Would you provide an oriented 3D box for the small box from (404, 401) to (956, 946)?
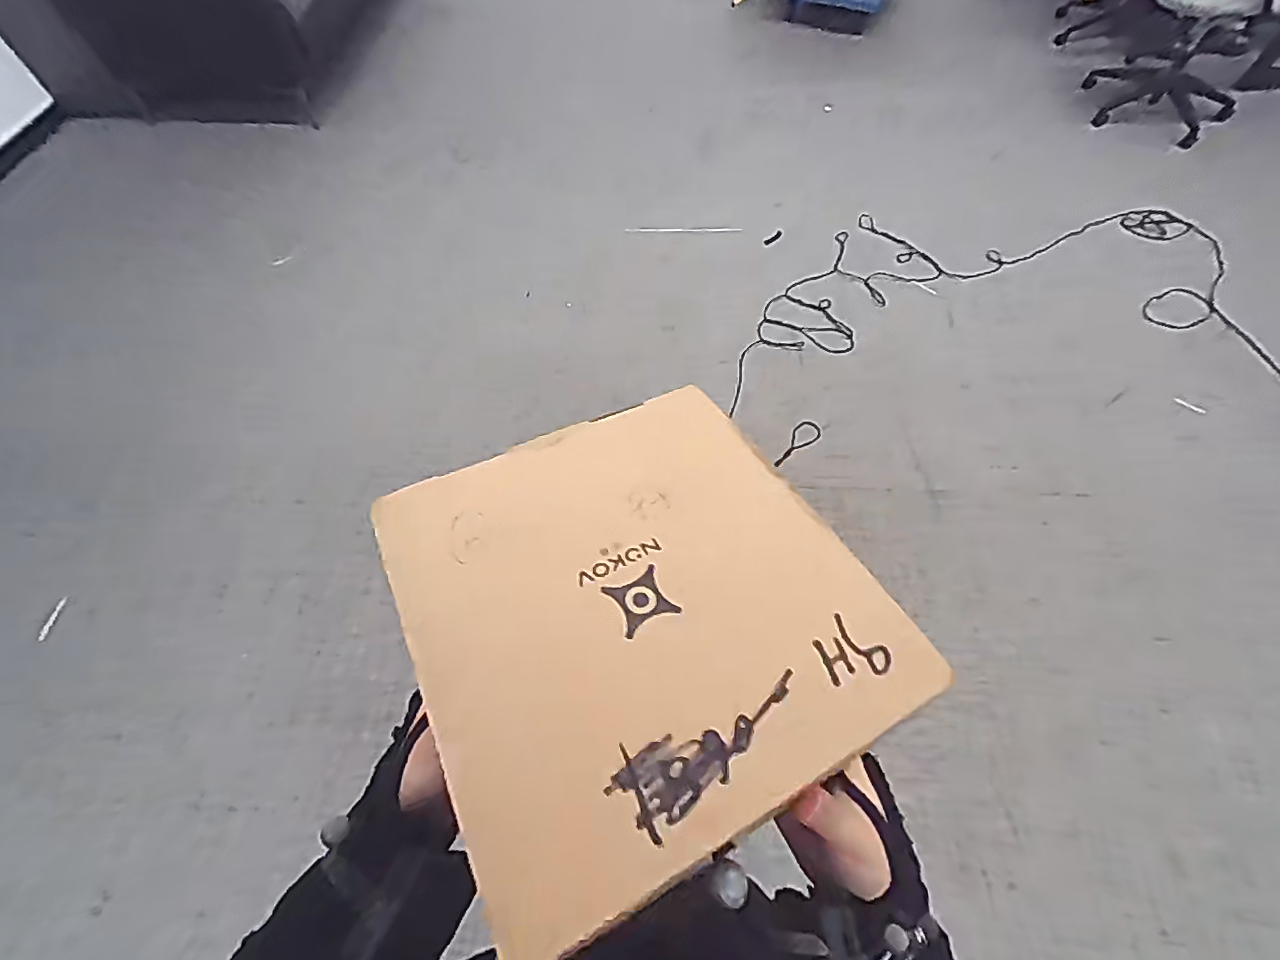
[{"bbox_3d":[0.004,0.095,0.281,0.168,0.176,0.179,-24,54,-17],"label":"small box"}]
